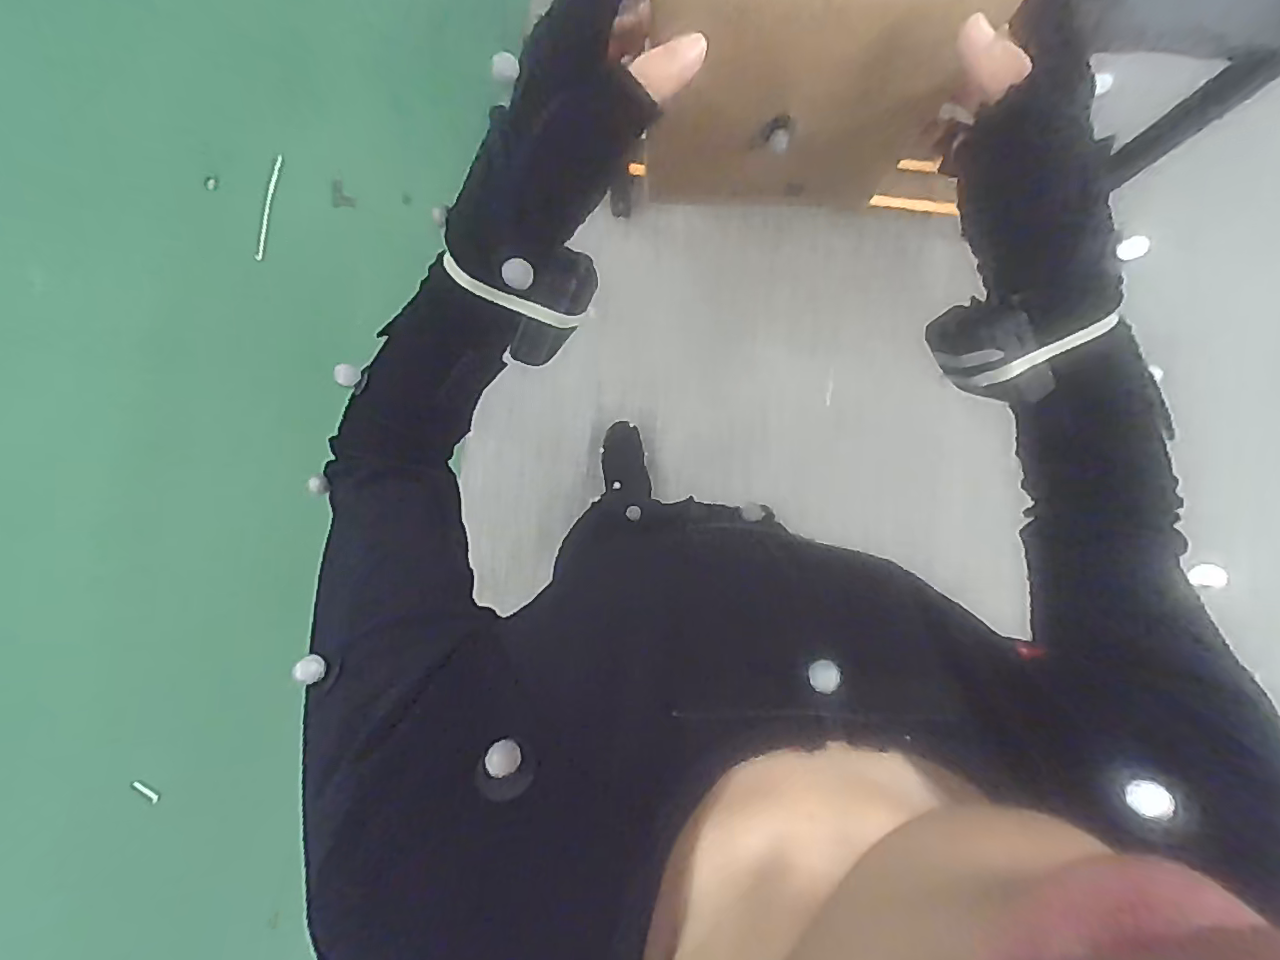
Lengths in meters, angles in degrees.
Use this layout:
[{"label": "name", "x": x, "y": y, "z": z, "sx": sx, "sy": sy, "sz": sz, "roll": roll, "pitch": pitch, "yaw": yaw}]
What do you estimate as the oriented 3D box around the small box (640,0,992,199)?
[{"label": "small box", "x": 0.085, "y": -0.296, "z": 0.324, "sx": 0.168, "sy": 0.176, "sz": 0.179, "roll": 1, "pitch": 84, "yaw": -1}]
